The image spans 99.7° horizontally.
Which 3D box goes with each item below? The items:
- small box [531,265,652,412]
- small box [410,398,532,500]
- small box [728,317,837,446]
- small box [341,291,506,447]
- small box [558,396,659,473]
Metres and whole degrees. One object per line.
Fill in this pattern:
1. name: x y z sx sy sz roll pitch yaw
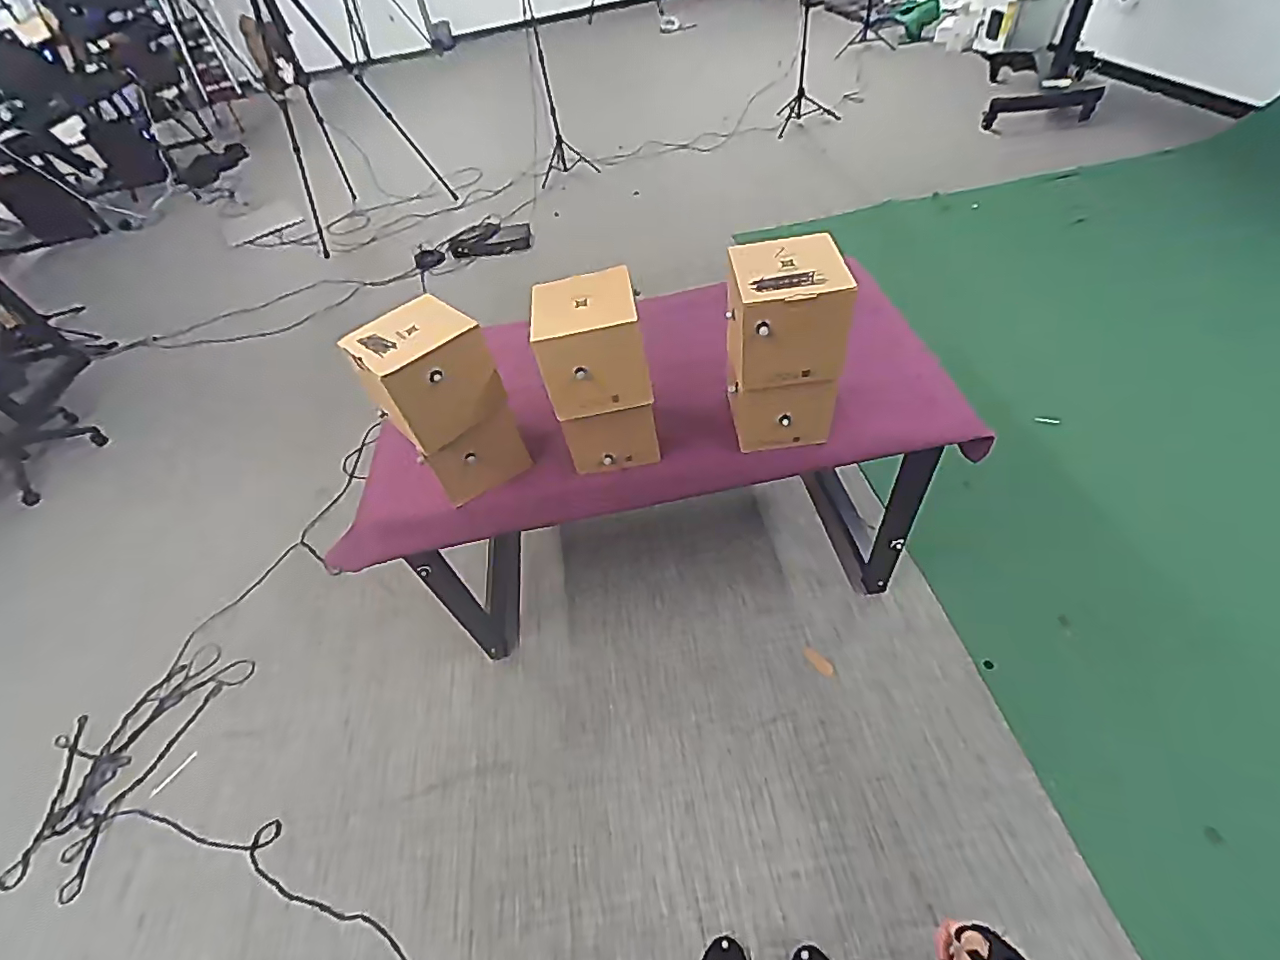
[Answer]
1. small box: -0.078 -0.232 0.916 0.168 0.176 0.179 -11 47 2
2. small box: -0.337 -0.091 1.054 0.179 0.176 0.168 -30 51 -15
3. small box: 0.260 -0.179 1.026 0.168 0.176 0.179 -6 49 4
4. small box: -0.358 -0.186 0.920 0.179 0.176 0.168 -39 54 -24
5. small box: -0.060 -0.139 1.049 0.168 0.176 0.179 -10 48 2
